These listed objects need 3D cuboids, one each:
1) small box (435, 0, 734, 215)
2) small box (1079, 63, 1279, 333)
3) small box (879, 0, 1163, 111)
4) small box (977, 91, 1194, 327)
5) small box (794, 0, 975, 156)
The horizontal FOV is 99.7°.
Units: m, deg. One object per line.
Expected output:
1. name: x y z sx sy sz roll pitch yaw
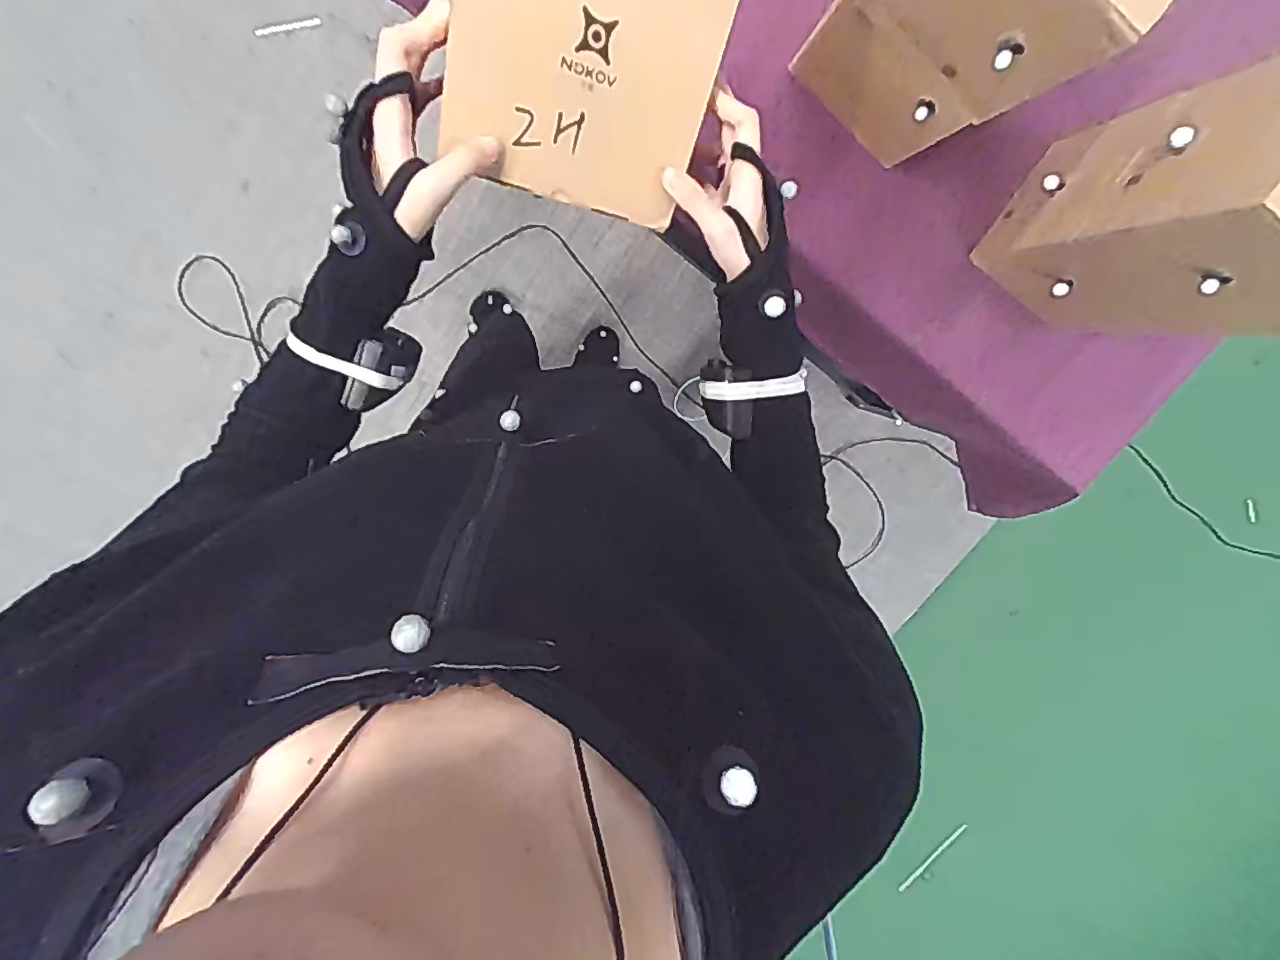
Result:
1. small box: -0.050 -0.323 0.391 0.168 0.176 0.179 7 123 -22
2. small box: 0.563 -0.247 0.479 0.179 0.176 0.168 33 100 -12
3. small box: 0.314 -0.434 0.412 0.168 0.176 0.179 34 100 -14
4. small box: 0.553 -0.294 0.637 0.179 0.176 0.168 32 101 -11
5. small box: 0.295 -0.483 0.566 0.179 0.176 0.168 36 100 -14
